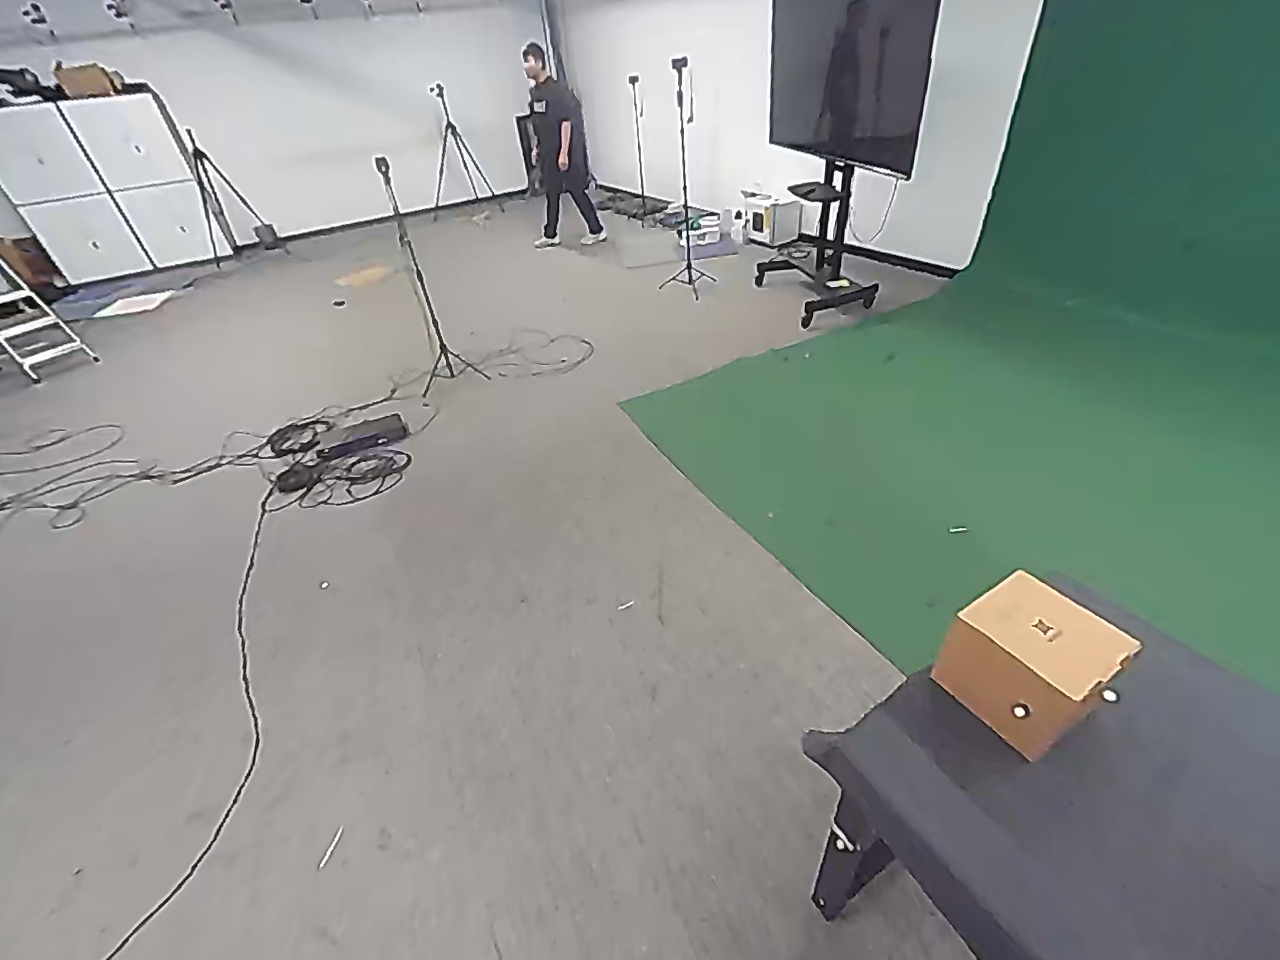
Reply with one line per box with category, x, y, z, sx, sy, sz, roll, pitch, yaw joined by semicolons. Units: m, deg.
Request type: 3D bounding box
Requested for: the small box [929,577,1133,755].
small box;0.591;0.290;0.839;0.168;0.176;0.179;-22;39;-25
